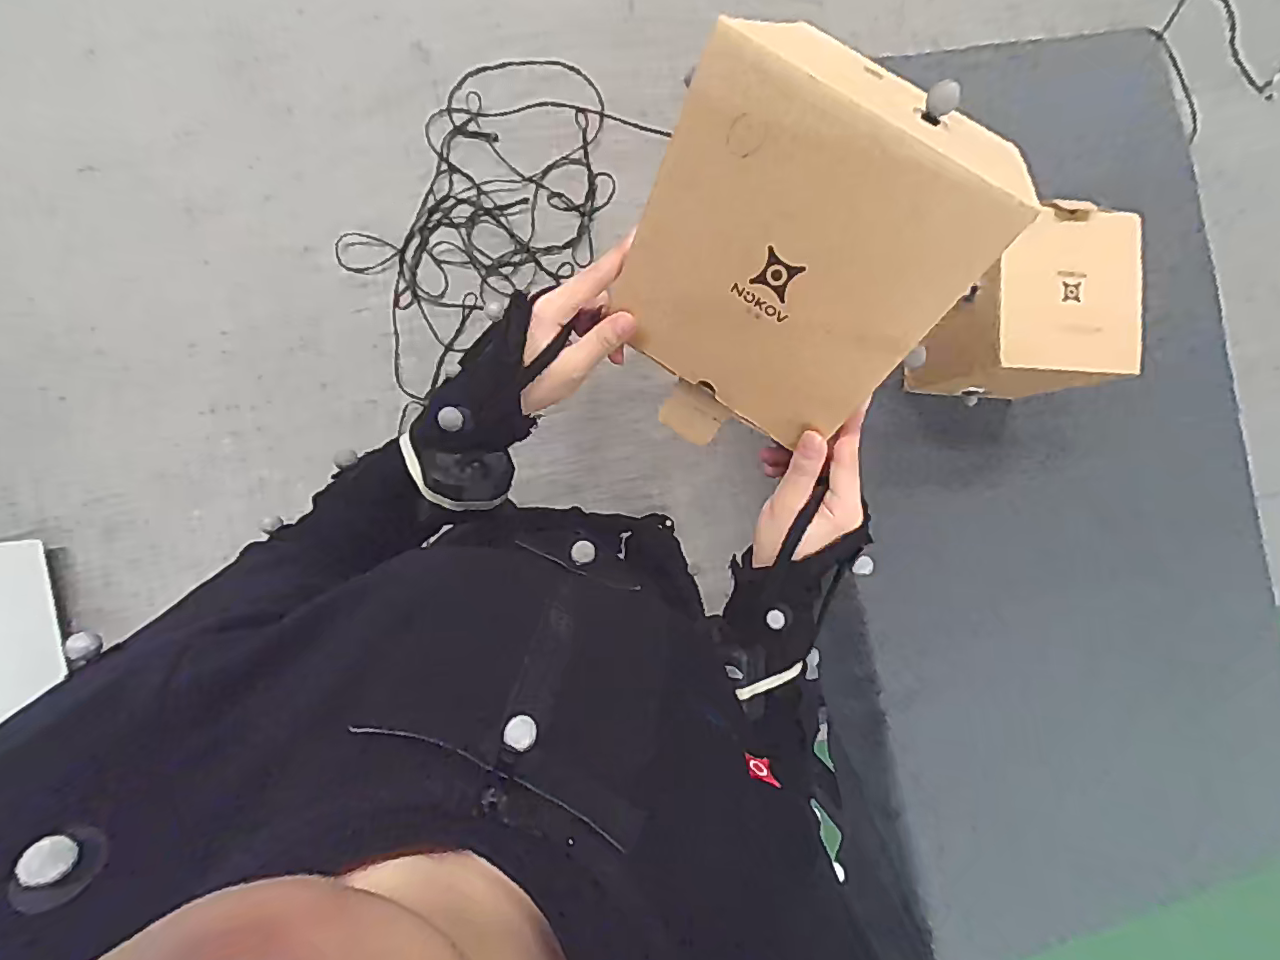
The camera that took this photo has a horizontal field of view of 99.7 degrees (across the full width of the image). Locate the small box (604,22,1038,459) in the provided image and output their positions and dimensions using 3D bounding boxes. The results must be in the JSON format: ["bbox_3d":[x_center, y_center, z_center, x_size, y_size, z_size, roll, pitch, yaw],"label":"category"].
[{"bbox_3d":[0.105,-0.155,0.349,0.168,0.179,0.176,33,47,3],"label":"small box"}]

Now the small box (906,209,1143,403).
[{"bbox_3d":[0.442,-0.194,0.644,0.168,0.176,0.179,1,90,-7],"label":"small box"}]
